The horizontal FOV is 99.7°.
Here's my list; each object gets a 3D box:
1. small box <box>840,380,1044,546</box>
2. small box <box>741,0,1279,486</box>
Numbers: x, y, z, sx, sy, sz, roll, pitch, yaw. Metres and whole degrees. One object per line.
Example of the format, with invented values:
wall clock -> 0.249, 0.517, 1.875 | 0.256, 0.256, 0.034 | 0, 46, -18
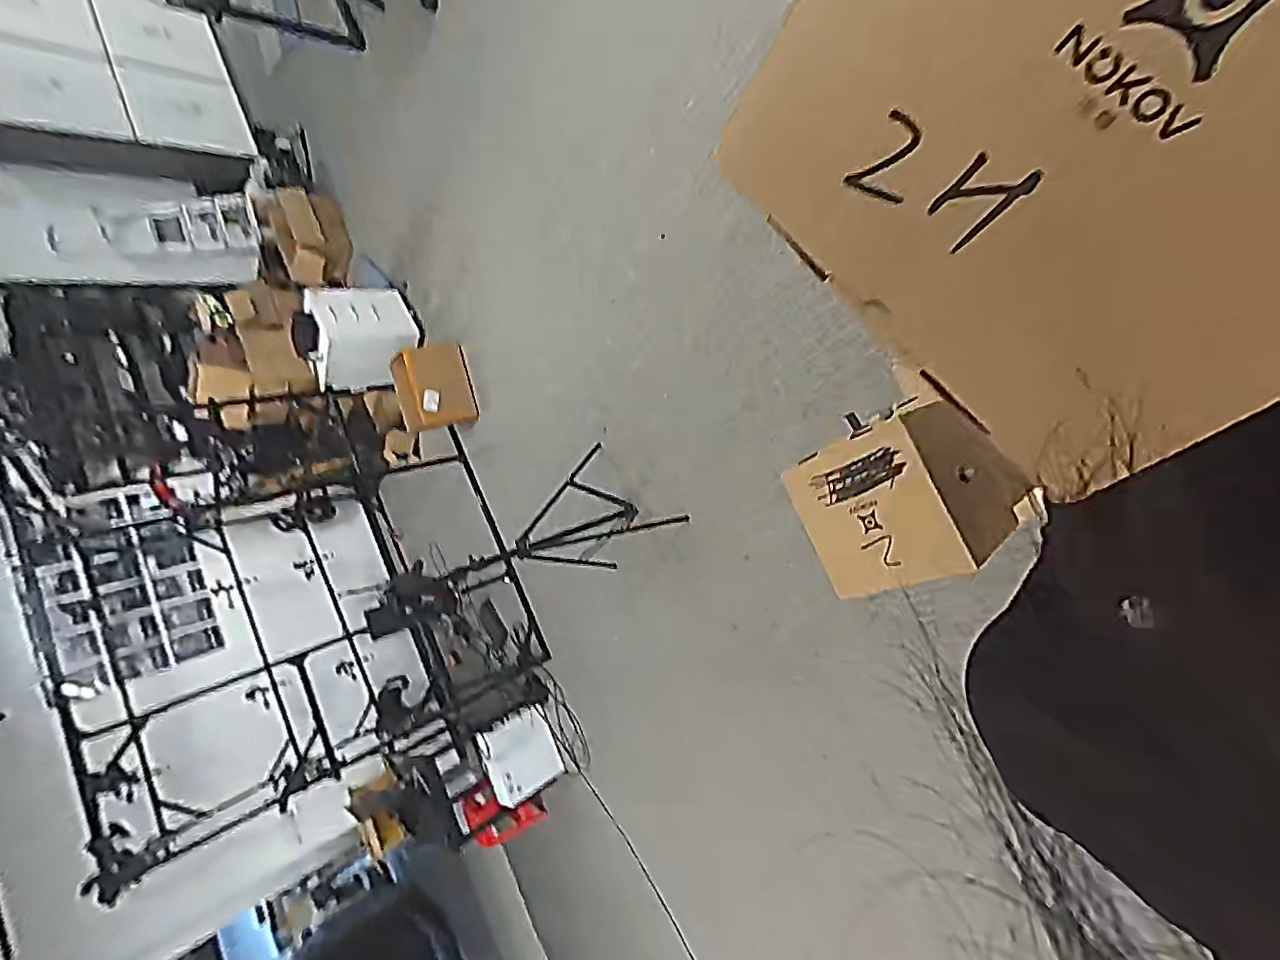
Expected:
small box -> 0.428, -0.030, 0.771 | 0.168, 0.176, 0.179 | -37, 74, 48
small box -> 0.173, -0.134, 0.173 | 0.168, 0.176, 0.179 | 50, 135, 7
